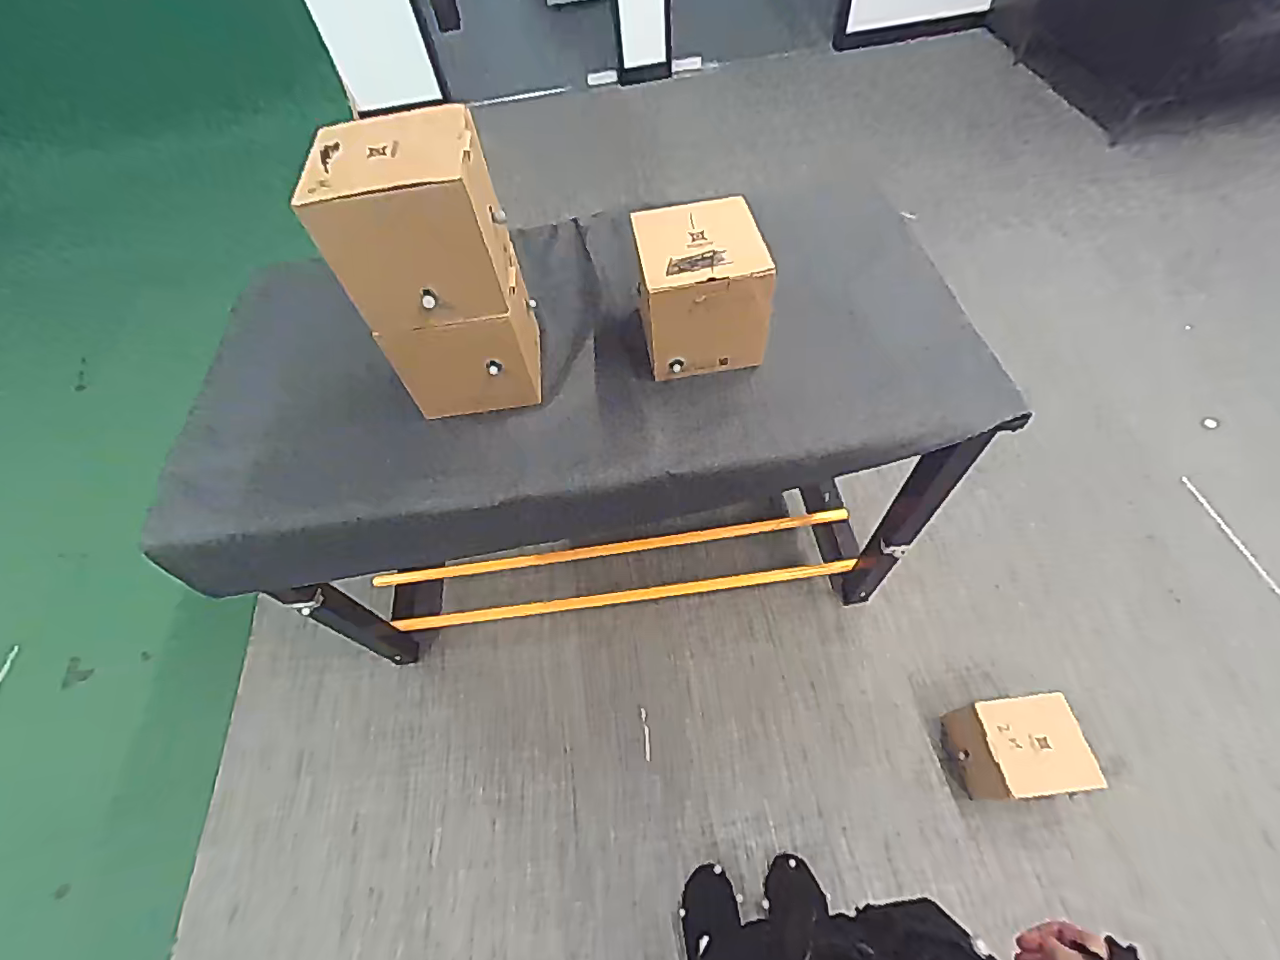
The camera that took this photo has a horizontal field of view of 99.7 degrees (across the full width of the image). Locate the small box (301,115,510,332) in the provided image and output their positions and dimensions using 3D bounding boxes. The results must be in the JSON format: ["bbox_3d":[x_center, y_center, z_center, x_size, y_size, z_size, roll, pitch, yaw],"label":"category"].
[{"bbox_3d":[-0.261,-0.304,0.654,0.179,0.176,0.168,-9,56,-1],"label":"small box"}]

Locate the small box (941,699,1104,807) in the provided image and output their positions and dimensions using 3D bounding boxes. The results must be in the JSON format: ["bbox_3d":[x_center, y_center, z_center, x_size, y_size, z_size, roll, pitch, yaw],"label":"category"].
[{"bbox_3d":[0.743,0.545,1.074,0.179,0.176,0.168,-7,56,1],"label":"small box"}]

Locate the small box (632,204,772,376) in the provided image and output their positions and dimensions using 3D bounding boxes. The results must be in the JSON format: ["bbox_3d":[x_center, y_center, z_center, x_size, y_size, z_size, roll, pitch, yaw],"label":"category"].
[{"bbox_3d":[0.086,-0.269,0.796,0.168,0.176,0.179,-9,56,-1],"label":"small box"}]

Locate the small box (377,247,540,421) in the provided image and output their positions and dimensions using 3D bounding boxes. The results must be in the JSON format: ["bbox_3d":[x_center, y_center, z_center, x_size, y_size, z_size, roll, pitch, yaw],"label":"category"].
[{"bbox_3d":[-0.246,-0.207,0.786,0.179,0.176,0.168,-8,55,0],"label":"small box"}]
